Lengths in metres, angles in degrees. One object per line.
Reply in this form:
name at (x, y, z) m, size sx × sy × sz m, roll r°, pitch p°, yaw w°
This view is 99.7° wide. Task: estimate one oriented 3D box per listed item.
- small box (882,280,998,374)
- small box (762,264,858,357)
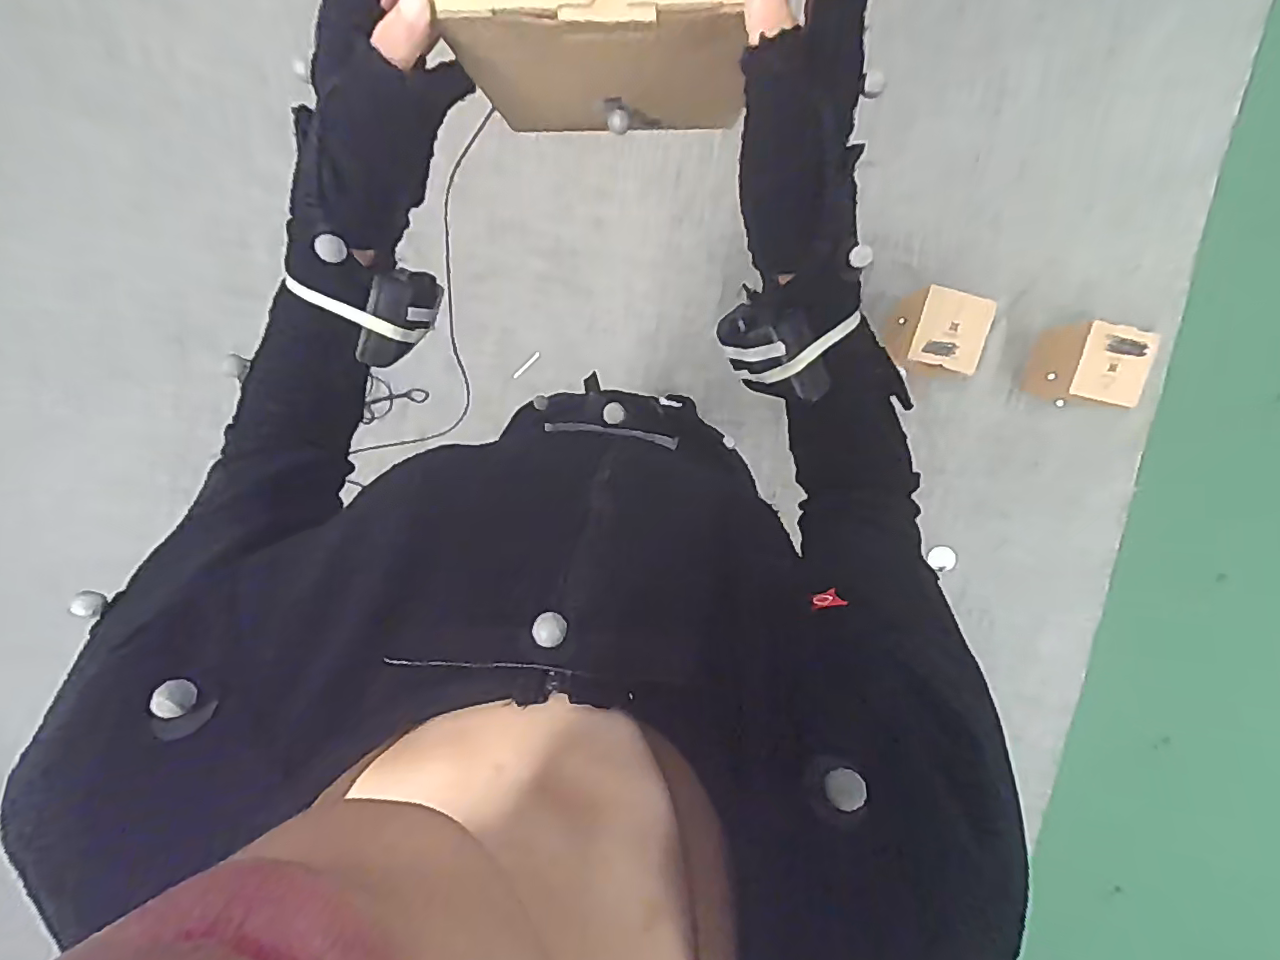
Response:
small box at (0.719, -0.363, 1.319) m, size 0.168 × 0.176 × 0.179 m, roll 15°, pitch 98°, yaw -2°
small box at (0.406, -0.406, 1.320) m, size 0.168 × 0.176 × 0.179 m, roll 9°, pitch 99°, yaw 0°
